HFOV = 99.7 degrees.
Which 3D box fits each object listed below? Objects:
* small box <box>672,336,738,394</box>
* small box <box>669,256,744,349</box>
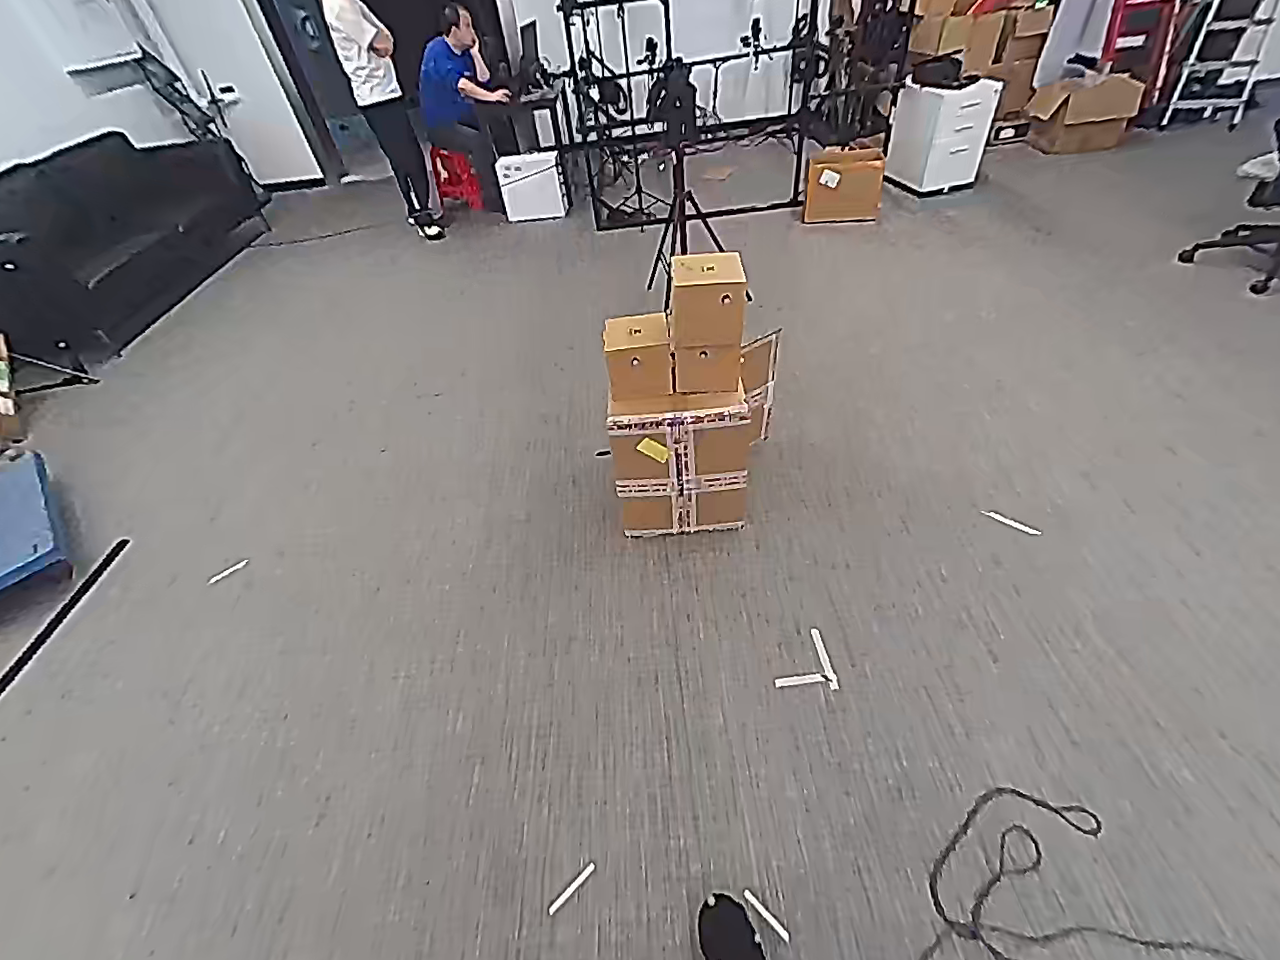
[{"bbox_3d":[0.182,-0.355,1.518,0.179,0.176,0.168,0,46,5],"label":"small box"},{"bbox_3d":[0.164,-0.453,1.384,0.179,0.176,0.168,-3,45,4],"label":"small box"}]
